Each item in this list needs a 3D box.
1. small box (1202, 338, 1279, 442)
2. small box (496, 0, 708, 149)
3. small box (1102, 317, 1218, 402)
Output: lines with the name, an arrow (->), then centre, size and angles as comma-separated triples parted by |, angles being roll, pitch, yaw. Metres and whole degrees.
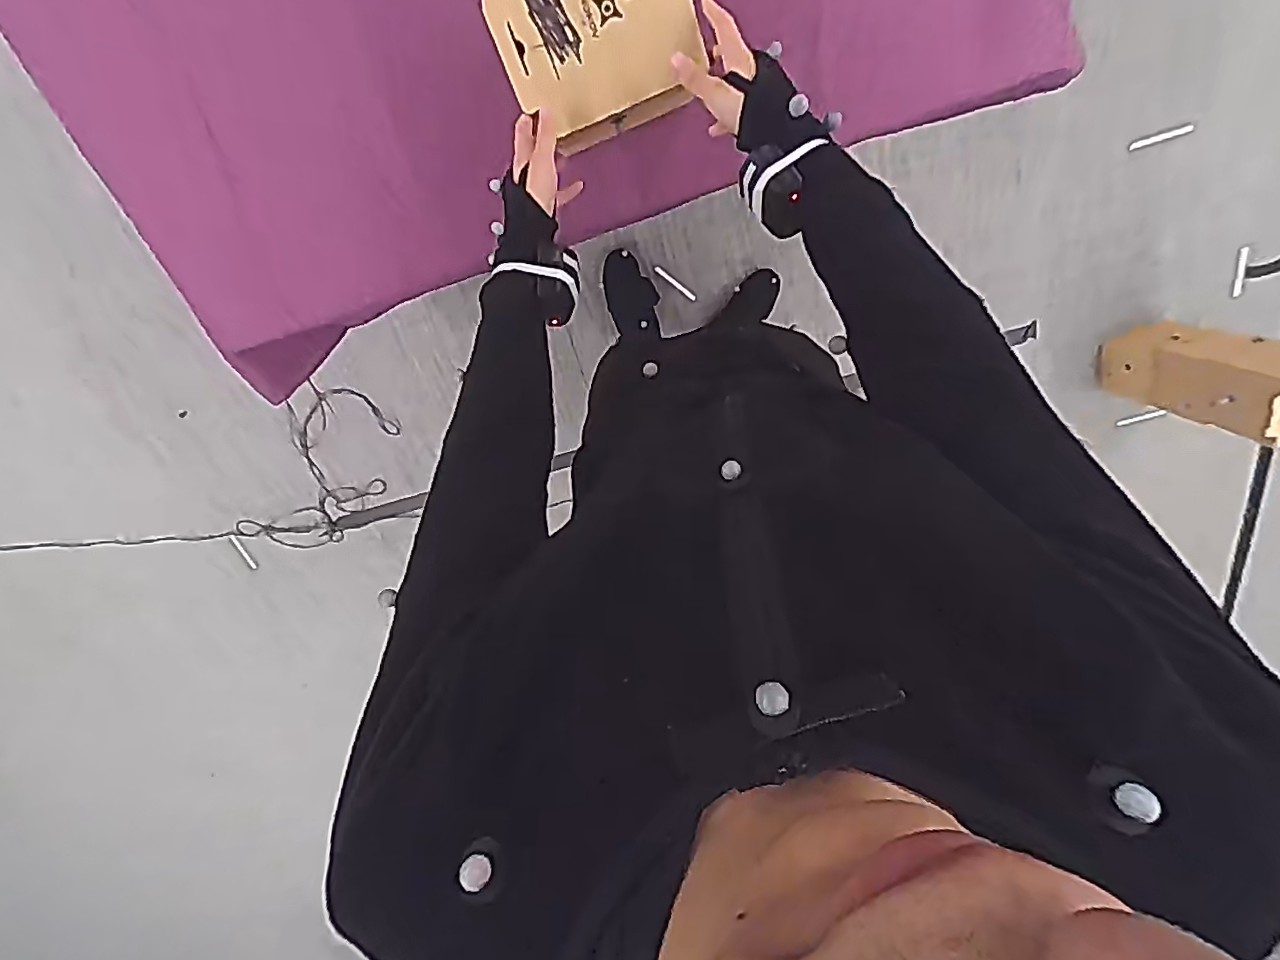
small box -> 1.468, -0.213, 1.235 | 0.179, 0.176, 0.168 | -17, 117, 6
small box -> -0.043, -0.481, 0.579 | 0.179, 0.176, 0.168 | -21, 116, 6
small box -> 1.467, -0.346, 1.539 | 0.179, 0.176, 0.168 | -20, 116, 7
